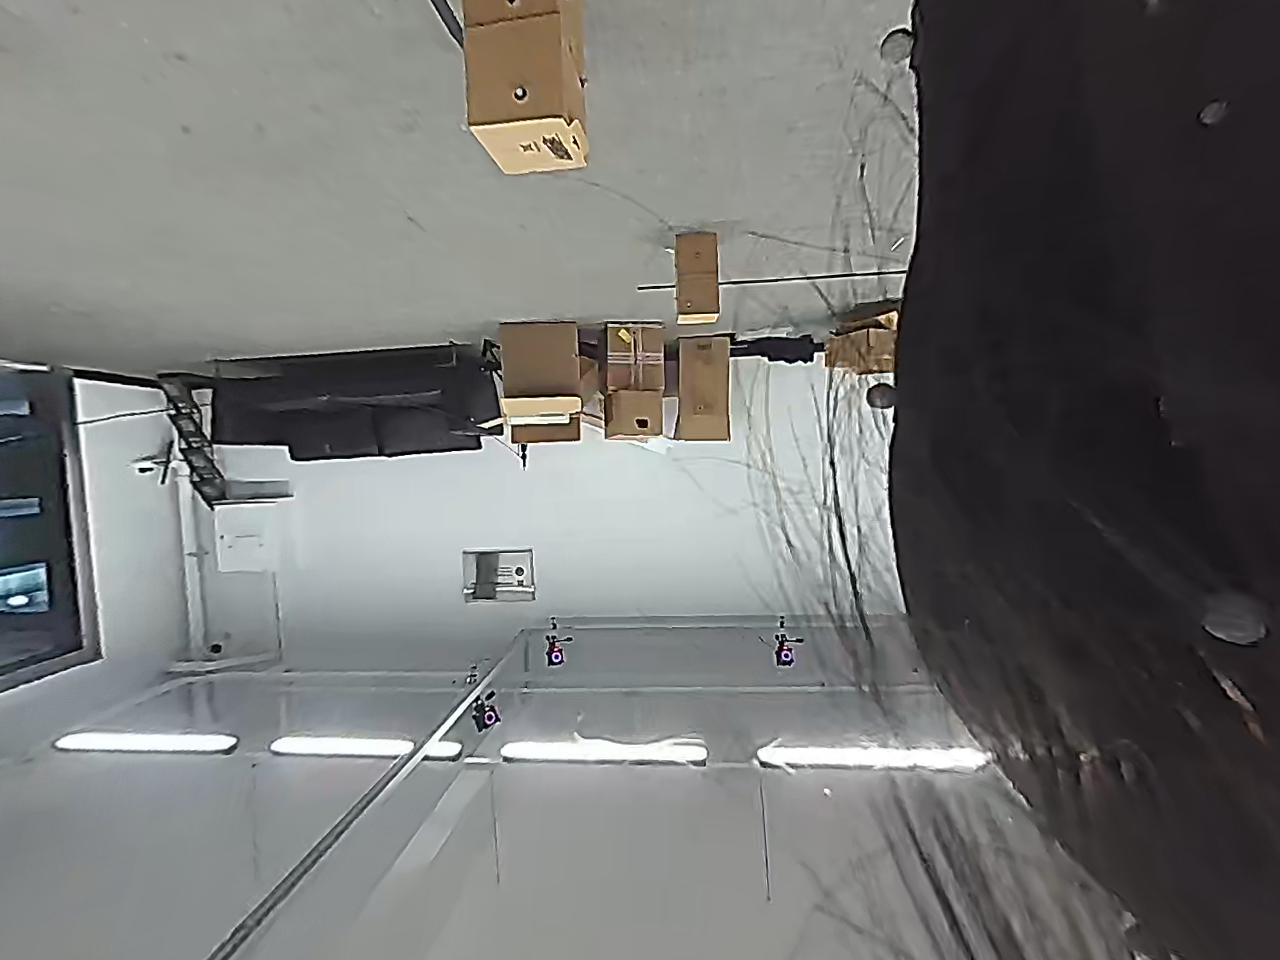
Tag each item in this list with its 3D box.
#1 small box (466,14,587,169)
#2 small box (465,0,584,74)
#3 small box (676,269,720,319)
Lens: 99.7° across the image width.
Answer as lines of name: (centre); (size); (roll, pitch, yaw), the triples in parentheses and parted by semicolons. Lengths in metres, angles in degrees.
small box: (-0.203, -0.706, 0.992); (0.179, 0.176, 0.168); (-1, -177, 9)
small box: (-0.209, -0.871, 0.988); (0.179, 0.176, 0.168); (0, -177, 10)
small box: (0.247, -0.802, 2.337); (0.179, 0.176, 0.168); (-3, -176, 2)
